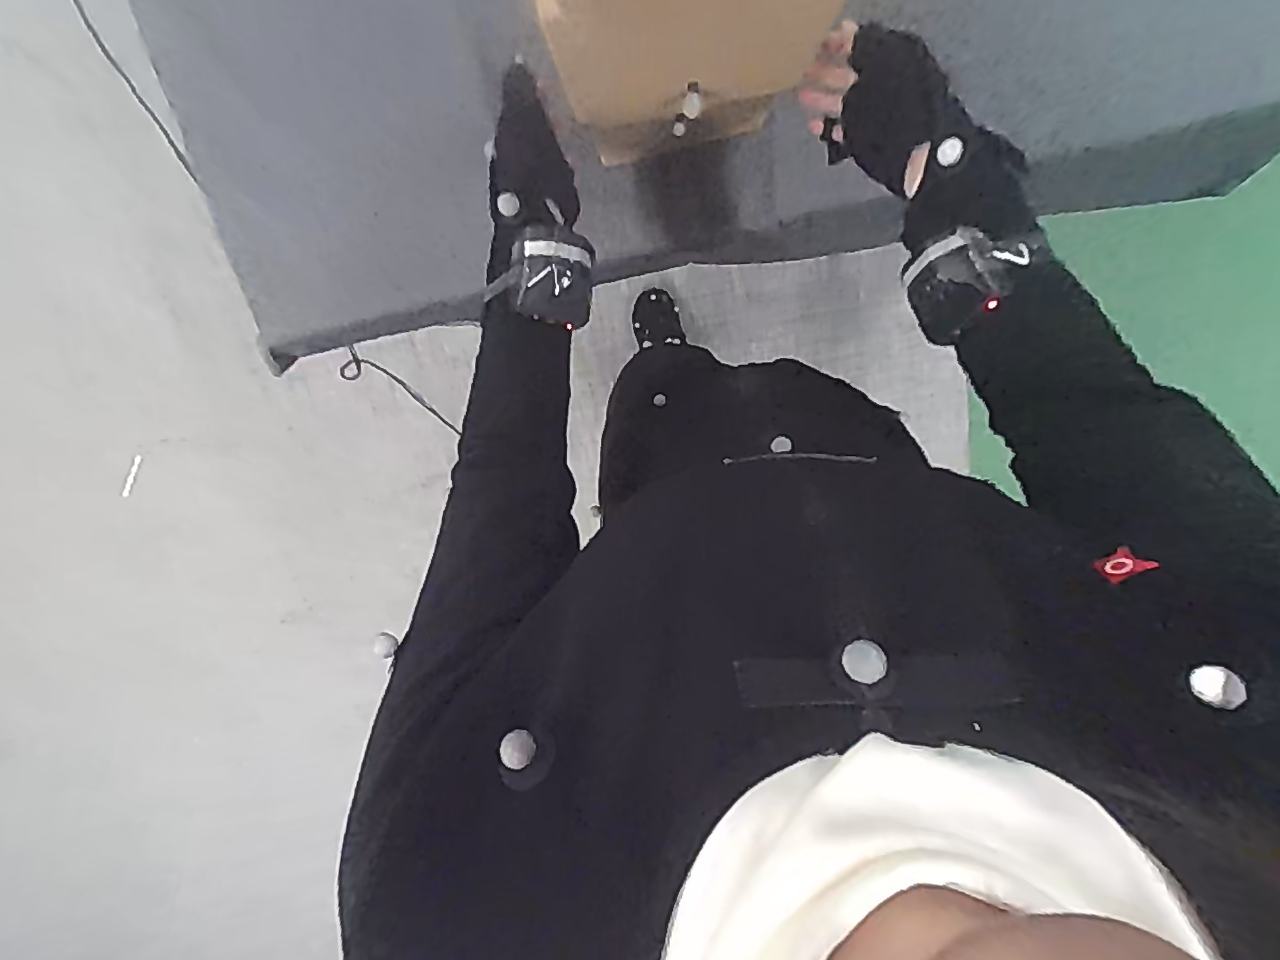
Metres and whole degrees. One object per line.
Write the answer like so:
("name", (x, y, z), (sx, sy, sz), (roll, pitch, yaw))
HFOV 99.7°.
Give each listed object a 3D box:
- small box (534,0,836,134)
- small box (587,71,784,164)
("small box", (0.017, -0.352, 0.341), (0.179, 0.176, 0.168), (-12, 106, 6))
("small box", (0.022, -0.415, 0.490), (0.179, 0.176, 0.168), (-11, 104, 6))
